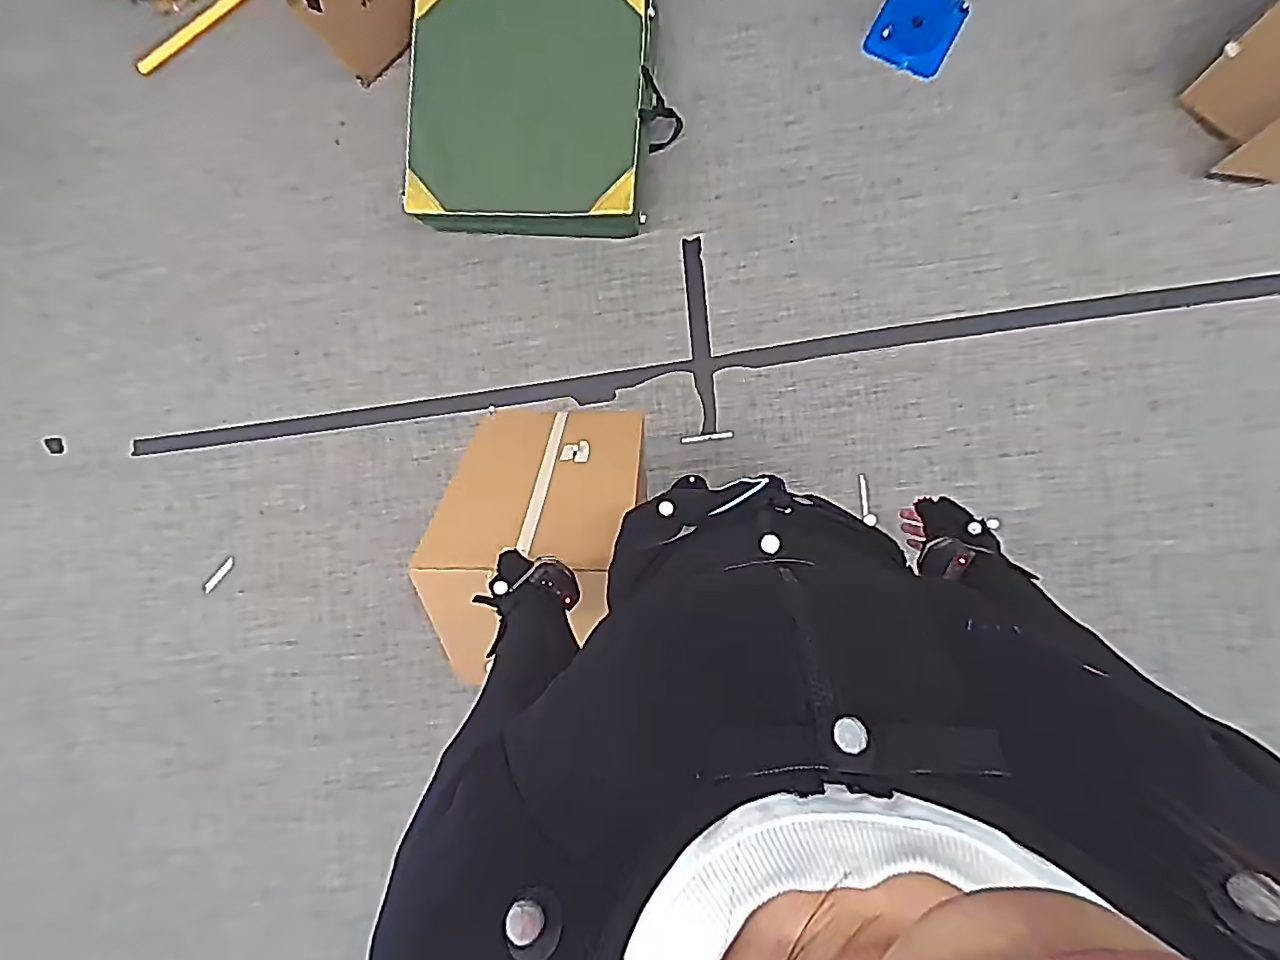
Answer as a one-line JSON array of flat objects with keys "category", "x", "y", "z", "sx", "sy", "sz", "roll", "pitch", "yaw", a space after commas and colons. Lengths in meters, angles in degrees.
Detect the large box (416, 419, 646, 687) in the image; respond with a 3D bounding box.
[{"category": "large box", "x": -0.156, "y": 0.126, "z": 1.009, "sx": 0.320, "sy": 0.408, "sz": 0.320, "roll": 1, "pitch": 128, "yaw": 4}]
